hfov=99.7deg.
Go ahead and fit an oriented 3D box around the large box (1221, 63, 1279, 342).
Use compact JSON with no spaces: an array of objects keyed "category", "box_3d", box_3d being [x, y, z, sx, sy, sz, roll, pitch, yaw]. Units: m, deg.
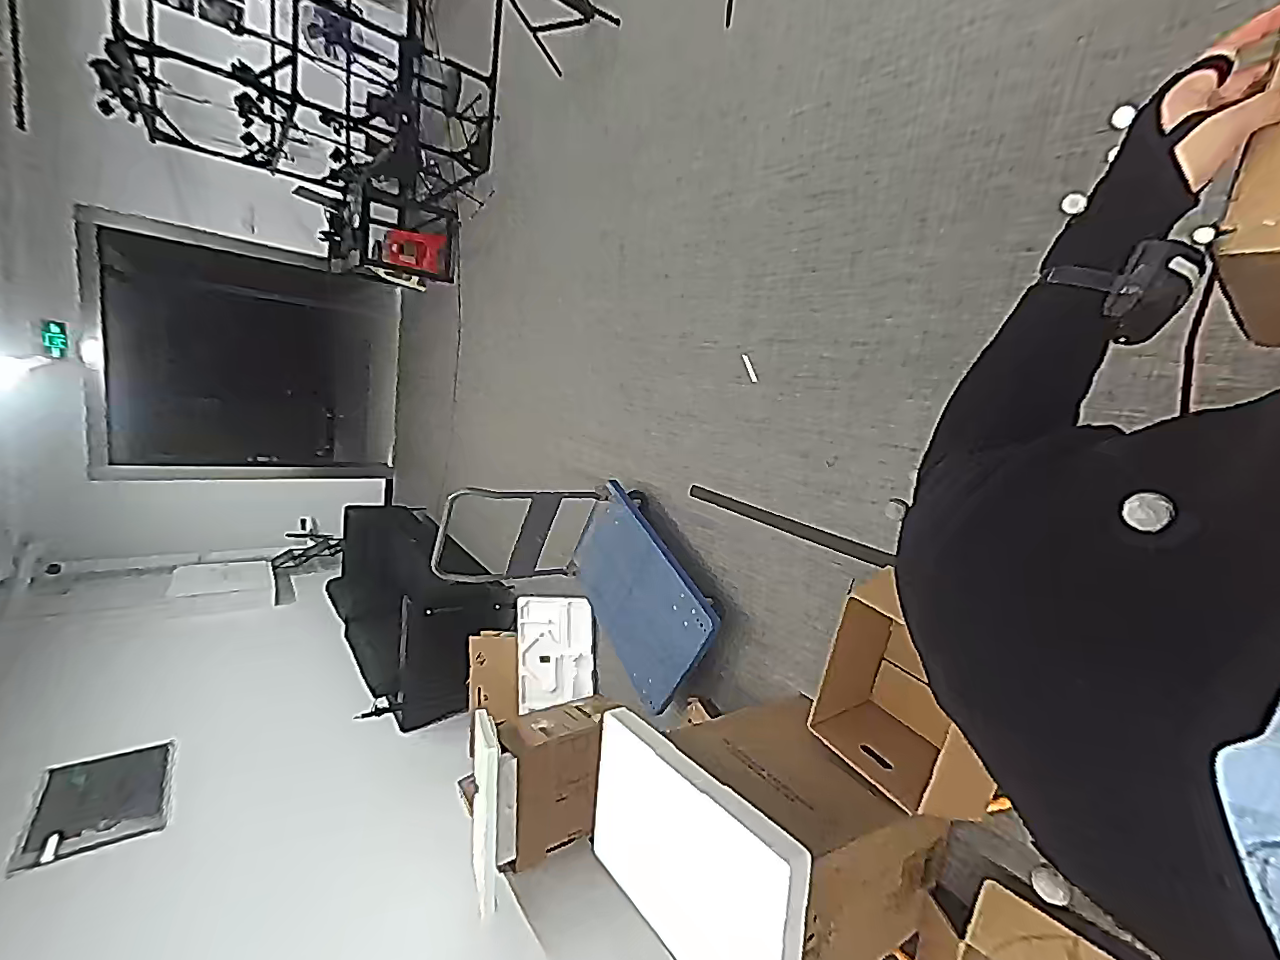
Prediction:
[{"category":"large box","box_3d":[0.688,-0.260,0.310,0.408,0.320,0.320,21,101,52]}]
